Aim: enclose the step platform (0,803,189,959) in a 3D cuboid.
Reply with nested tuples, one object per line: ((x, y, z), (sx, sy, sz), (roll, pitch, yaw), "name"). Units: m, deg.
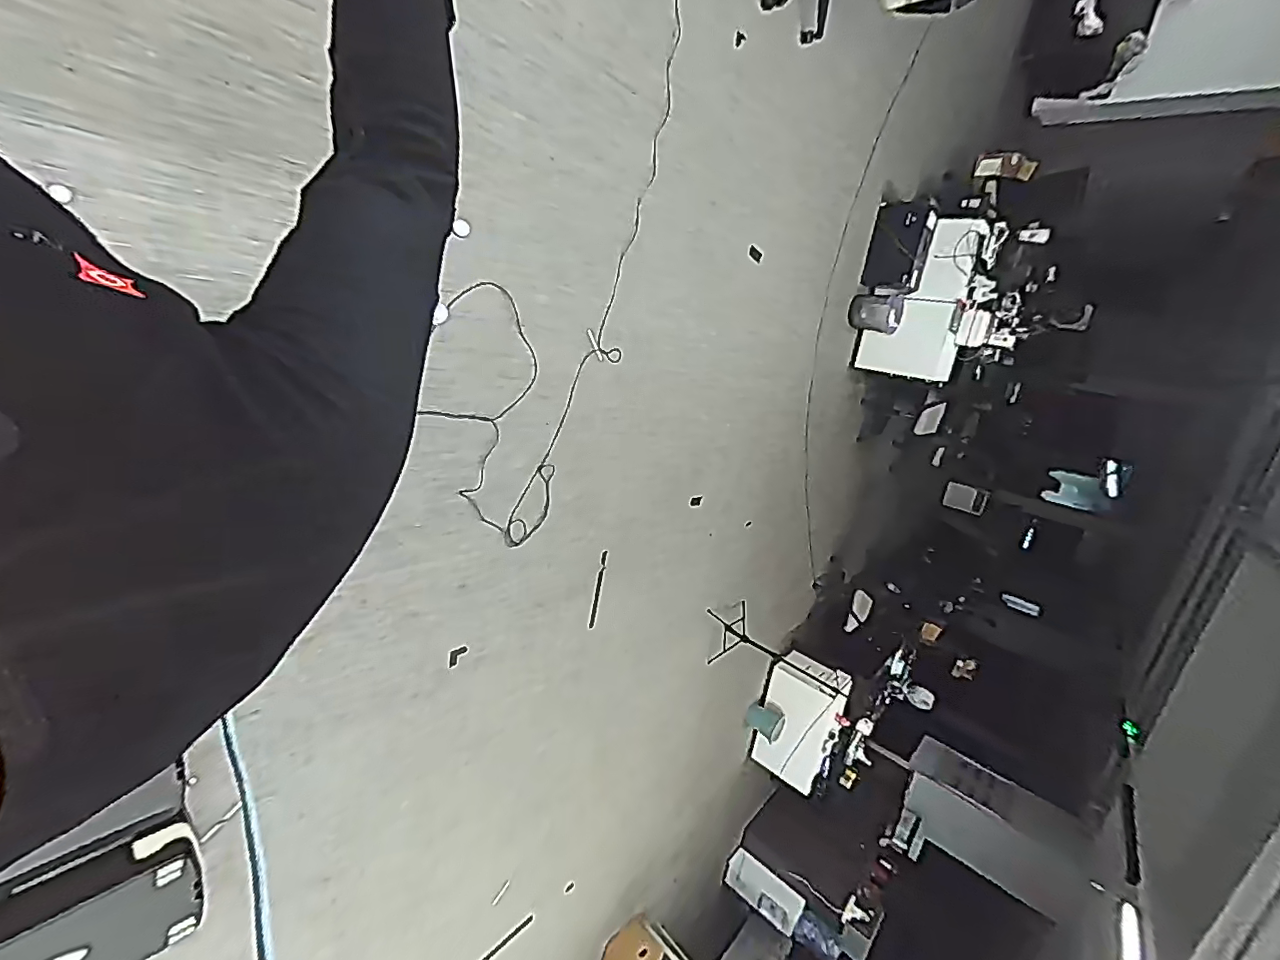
((-1.400, 1.025, 1.144), (0.684, 0.204, 0.286), (-12, 117, -47), "step platform")
